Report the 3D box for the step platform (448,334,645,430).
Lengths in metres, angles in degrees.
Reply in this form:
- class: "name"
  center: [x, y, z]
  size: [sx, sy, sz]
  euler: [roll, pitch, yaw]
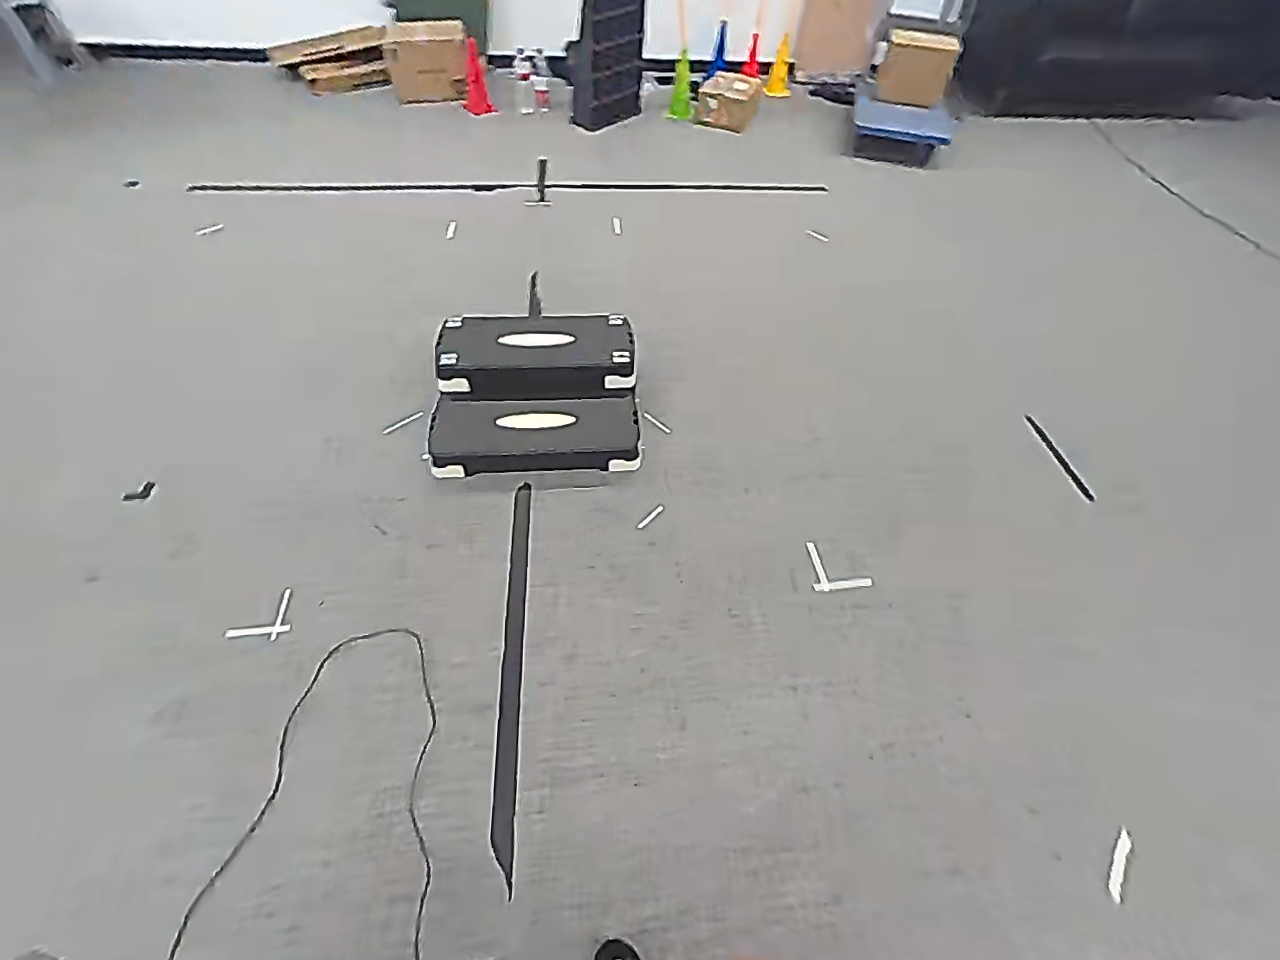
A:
- class: "step platform"
  center: [-0.321, -0.353, 1.928]
  size: [0.684, 0.204, 0.286]
  euler: [2, 51, -3]
